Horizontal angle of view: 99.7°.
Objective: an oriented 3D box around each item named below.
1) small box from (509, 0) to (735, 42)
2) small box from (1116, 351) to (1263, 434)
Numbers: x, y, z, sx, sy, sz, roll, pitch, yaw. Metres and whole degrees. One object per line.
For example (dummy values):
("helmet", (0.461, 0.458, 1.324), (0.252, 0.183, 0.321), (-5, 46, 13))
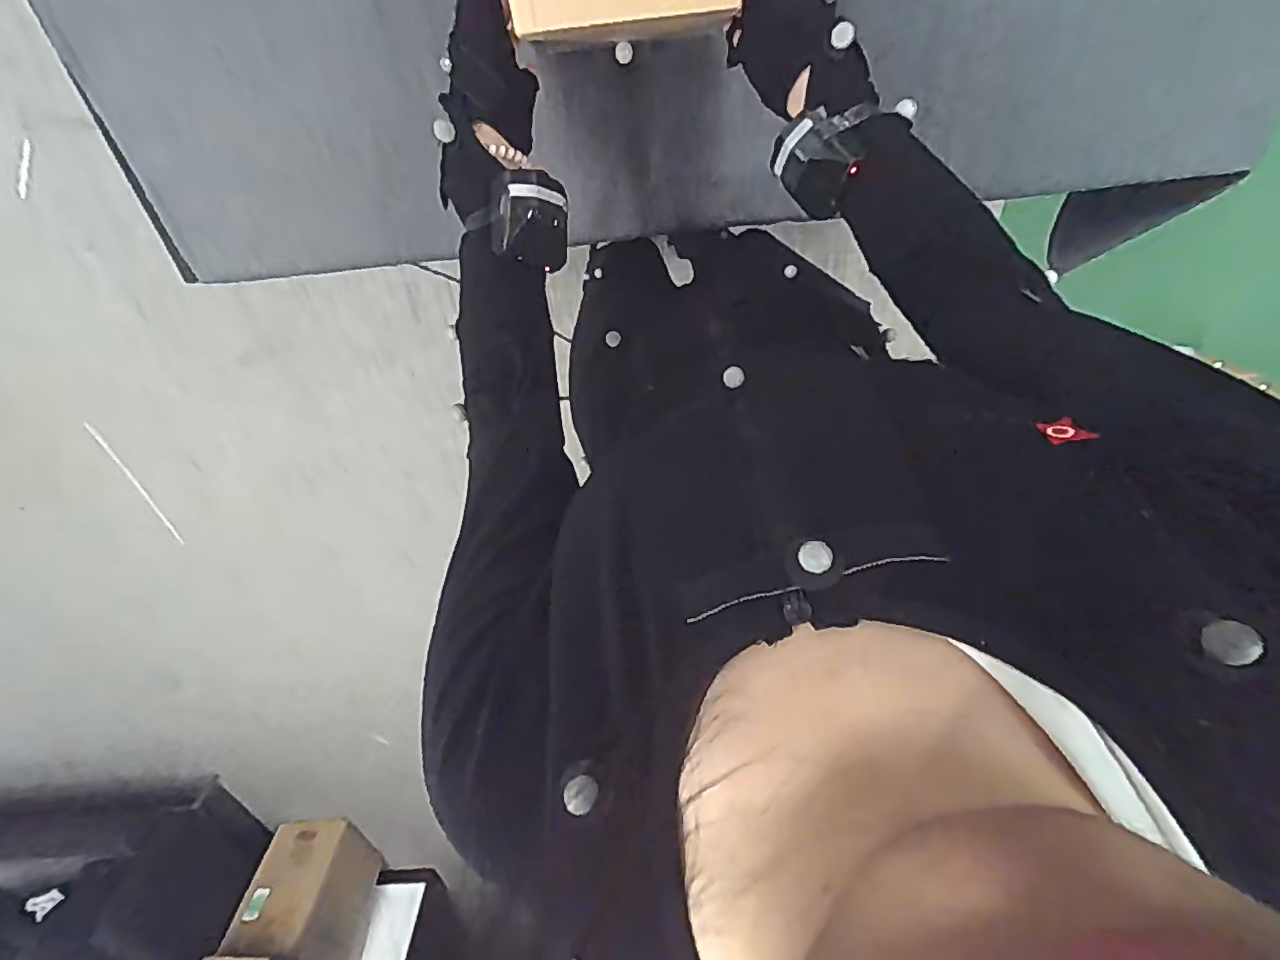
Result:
("small box", (-0.017, -0.450, 0.399), (0.168, 0.176, 0.179), (-3, 125, 3))
("small box", (1.422, -0.231, 1.417), (0.179, 0.176, 0.168), (0, 124, 0))
